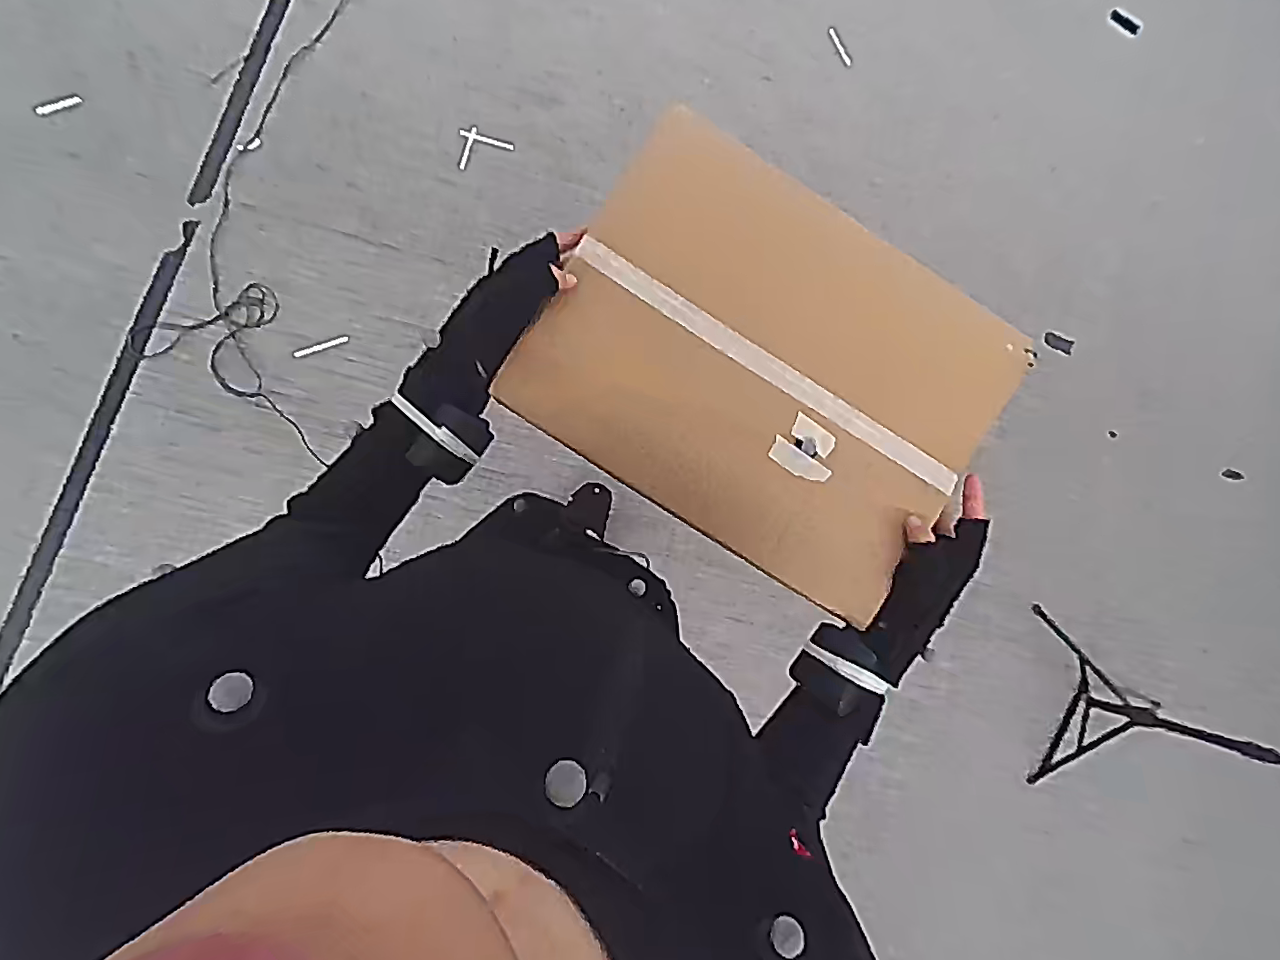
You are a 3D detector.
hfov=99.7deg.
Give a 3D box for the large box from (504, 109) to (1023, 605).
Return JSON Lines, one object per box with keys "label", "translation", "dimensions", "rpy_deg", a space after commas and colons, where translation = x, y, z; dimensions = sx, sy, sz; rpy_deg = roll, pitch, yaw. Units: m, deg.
{"label": "large box", "translation": [0.111, -0.113, 0.650], "dimensions": [0.408, 0.320, 0.320], "rpy_deg": [33, 90, -3]}
